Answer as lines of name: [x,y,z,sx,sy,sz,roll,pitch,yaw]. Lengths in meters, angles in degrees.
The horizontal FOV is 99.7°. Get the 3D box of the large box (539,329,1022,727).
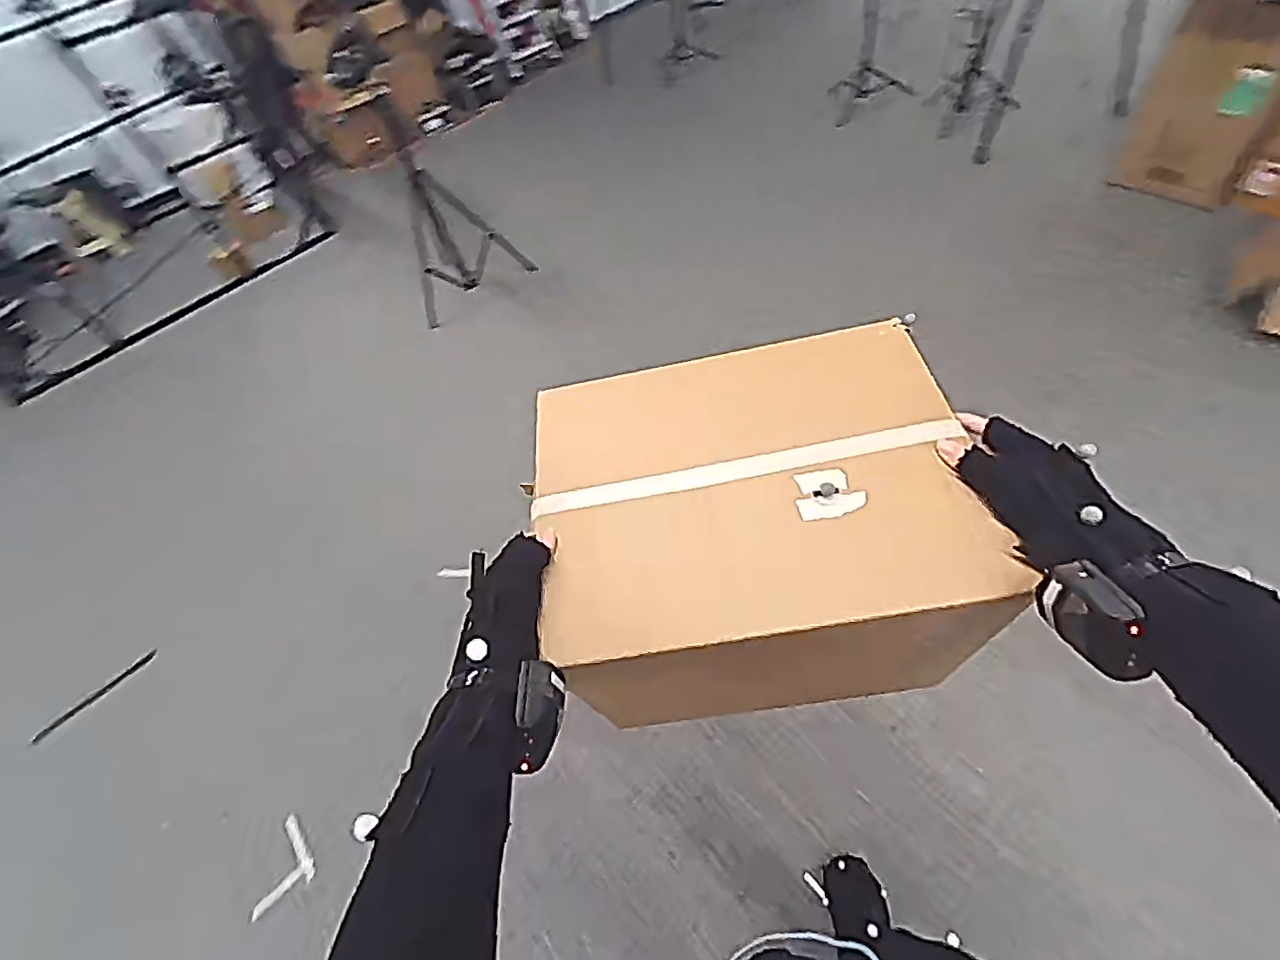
large box: [0.120,0.076,0.650,0.408,0.320,0.320,-11,56,4]
